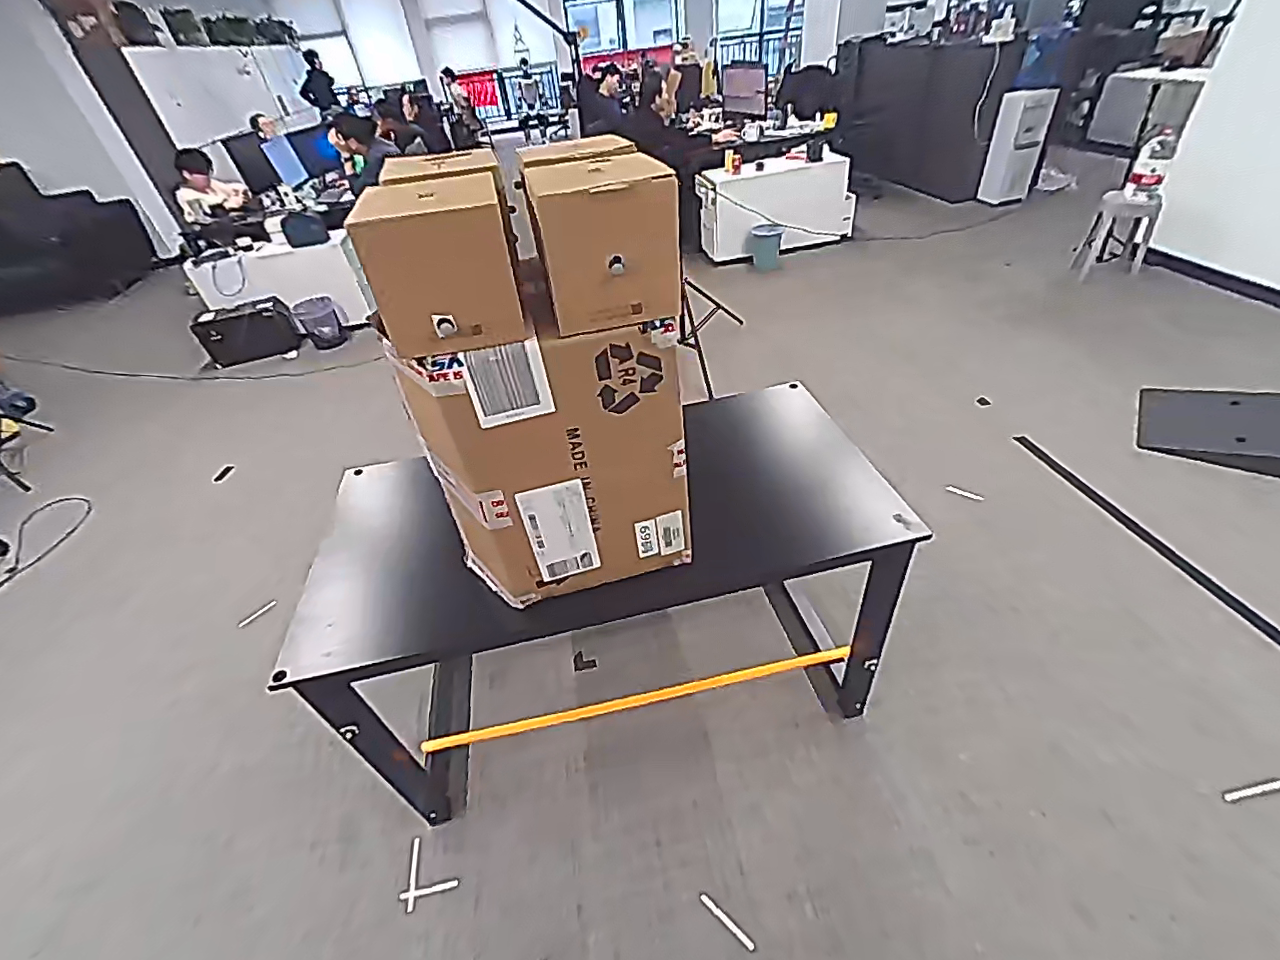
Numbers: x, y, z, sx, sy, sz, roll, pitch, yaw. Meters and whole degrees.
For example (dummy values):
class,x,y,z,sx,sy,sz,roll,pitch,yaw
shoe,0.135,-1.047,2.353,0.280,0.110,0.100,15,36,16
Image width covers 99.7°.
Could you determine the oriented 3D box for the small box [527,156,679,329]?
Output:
class,x,y,z,sx,sy,sz,roll,pitch,yaw
small box,-0.047,-0.311,0.718,0.168,0.176,0.179,-11,41,-8
